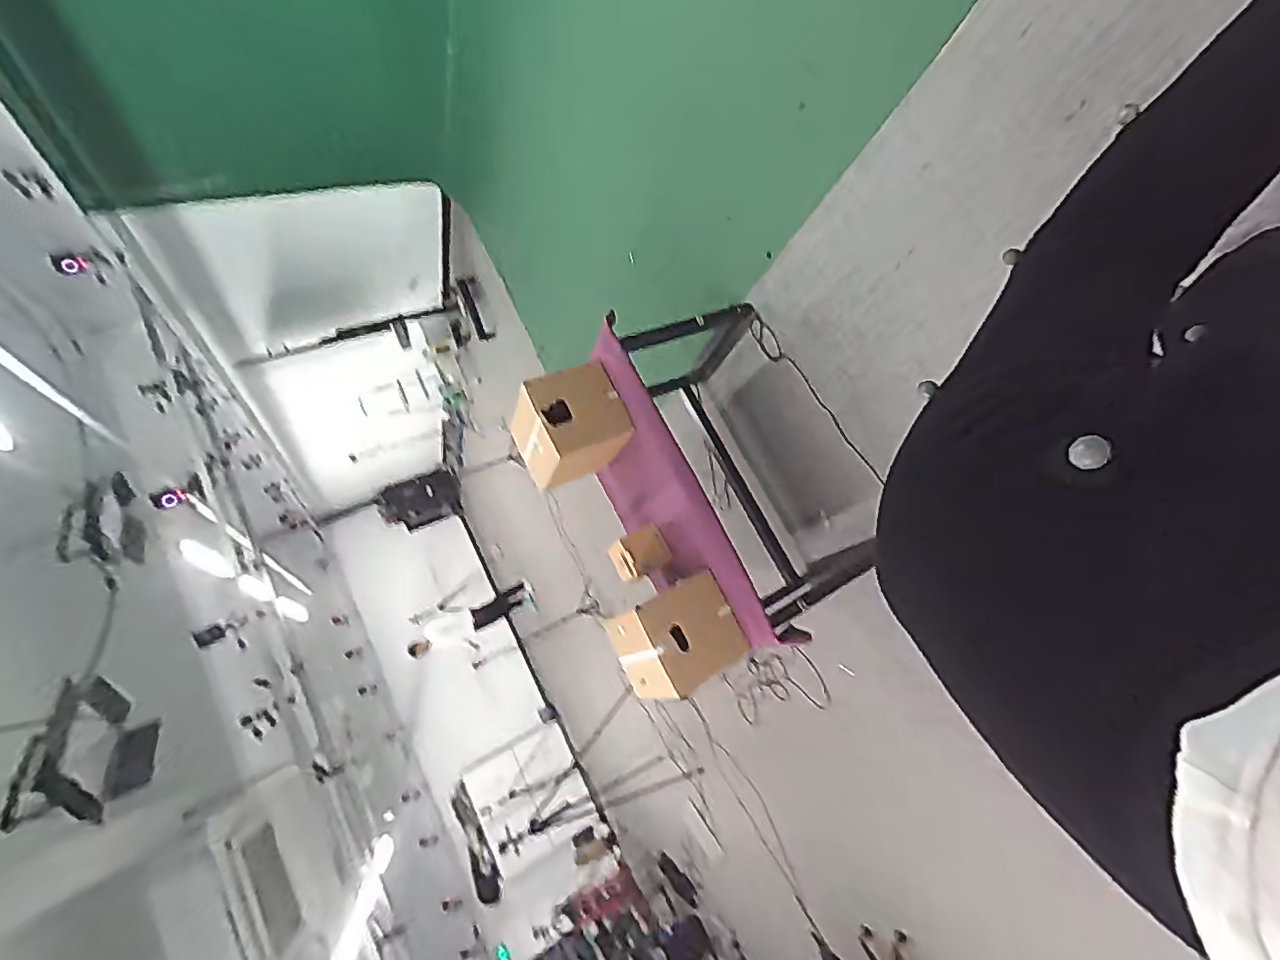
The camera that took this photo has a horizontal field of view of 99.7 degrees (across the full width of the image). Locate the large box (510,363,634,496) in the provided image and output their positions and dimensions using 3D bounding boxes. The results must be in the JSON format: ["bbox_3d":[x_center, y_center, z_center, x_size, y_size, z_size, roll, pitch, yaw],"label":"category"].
[{"bbox_3d":[-0.273,-0.187,2.070,0.320,0.320,0.408,61,152,9],"label":"large box"}]
